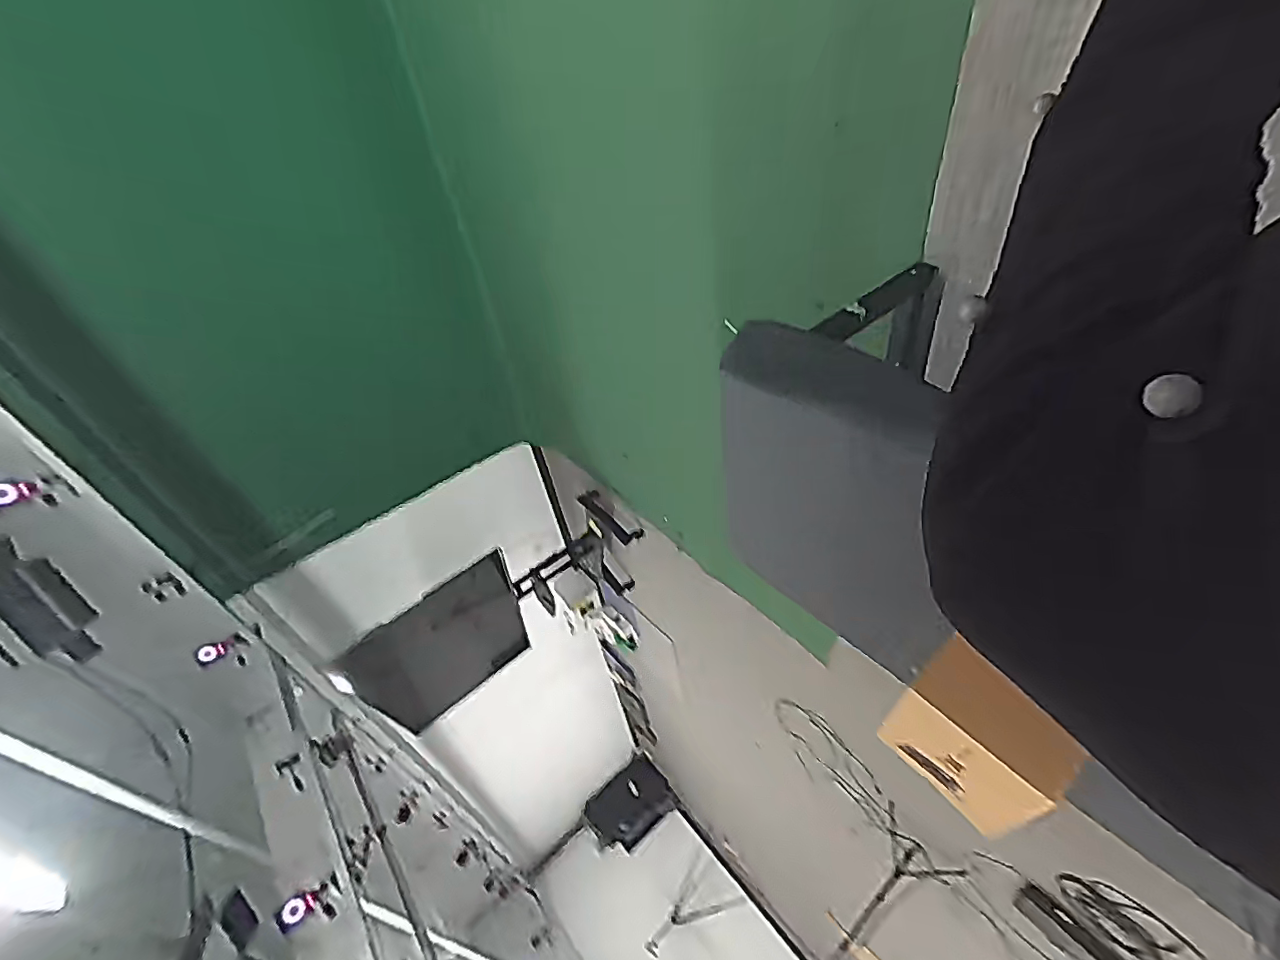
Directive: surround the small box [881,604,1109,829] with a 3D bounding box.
[{"bbox_3d":[0.443,0.297,0.693,0.168,0.176,0.179,39,155,38],"label":"small box"}]
